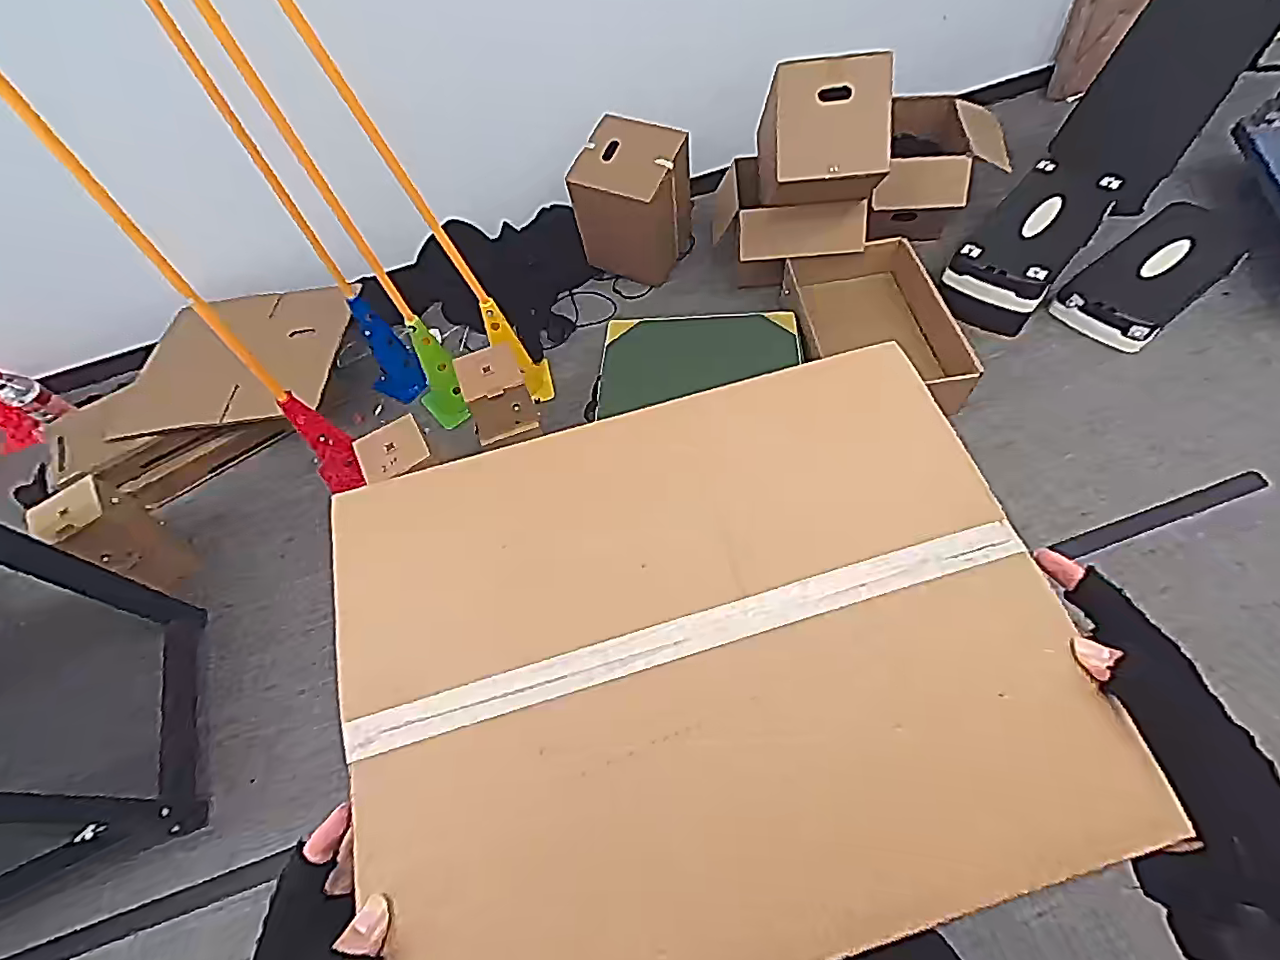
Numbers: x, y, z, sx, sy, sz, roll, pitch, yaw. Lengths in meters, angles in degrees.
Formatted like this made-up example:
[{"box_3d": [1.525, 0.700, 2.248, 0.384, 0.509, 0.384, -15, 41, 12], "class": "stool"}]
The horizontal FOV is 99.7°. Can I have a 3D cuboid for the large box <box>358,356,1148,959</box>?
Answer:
[{"box_3d": [0.043, 0.156, 0.463, 0.408, 0.320, 0.320, -16, 67, -3], "class": "large box"}]
